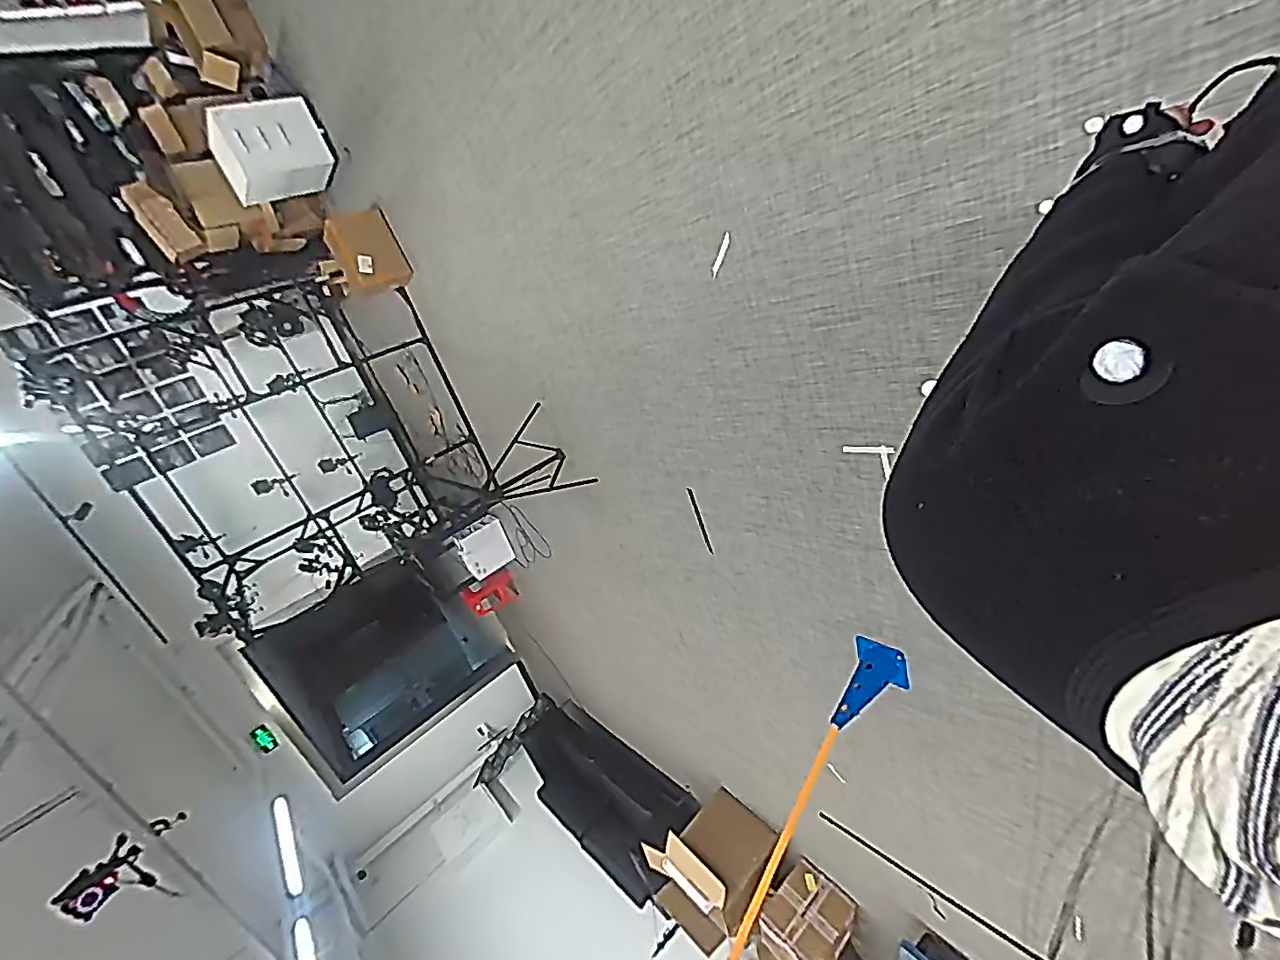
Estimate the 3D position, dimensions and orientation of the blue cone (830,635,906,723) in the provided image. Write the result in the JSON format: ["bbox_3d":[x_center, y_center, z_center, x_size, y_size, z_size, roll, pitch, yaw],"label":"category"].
[{"bbox_3d":[0.837,0.787,2.052,0.193,0.380,0.192,14,129,49],"label":"blue cone"}]
